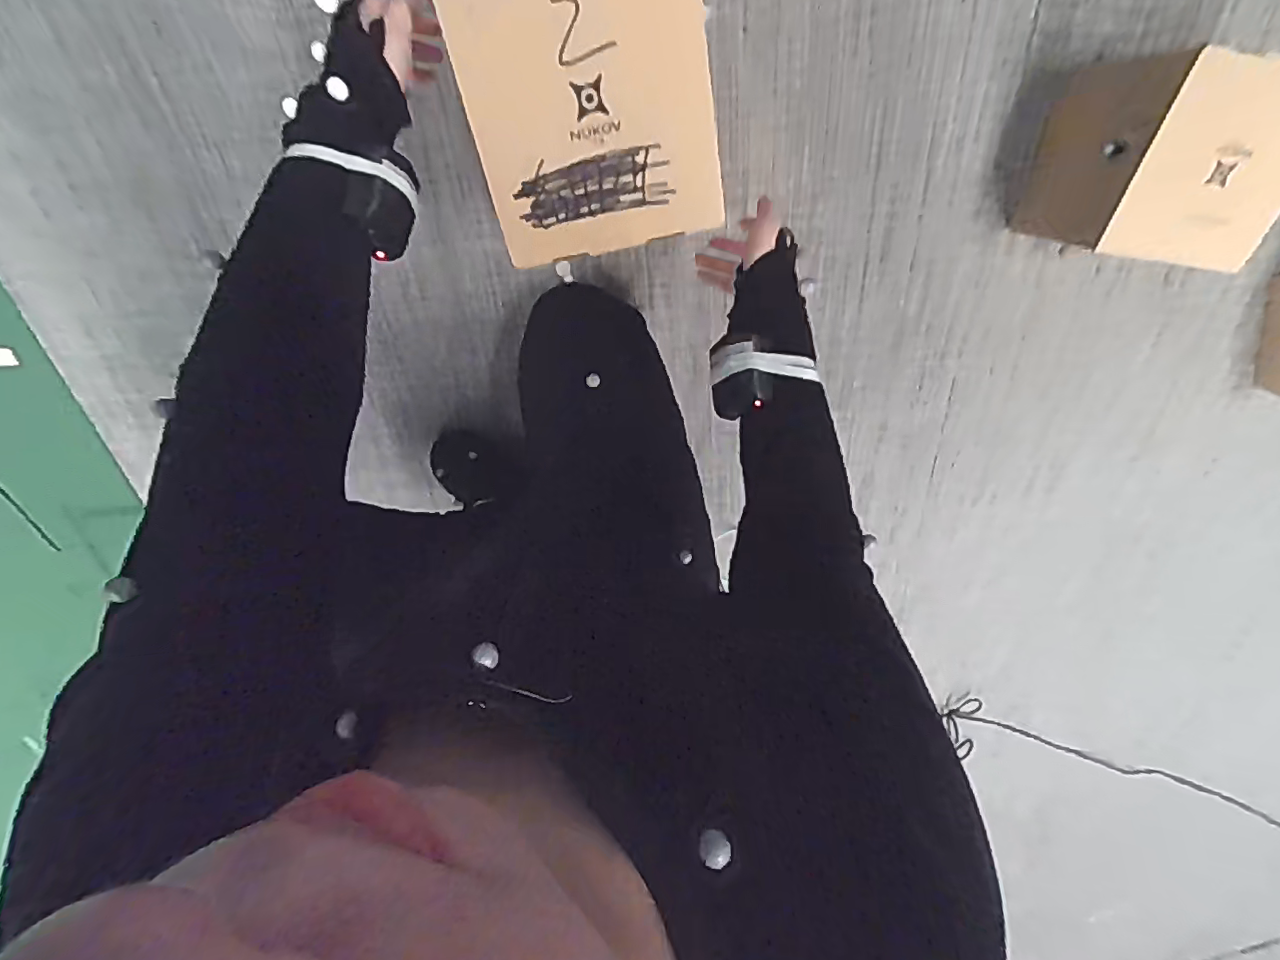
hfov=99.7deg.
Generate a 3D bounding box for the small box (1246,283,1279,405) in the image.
[{"bbox_3d":[0.955,-0.181,0.695,0.168,0.176,0.179,-20,119,12],"label":"small box"}]

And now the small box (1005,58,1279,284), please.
[{"bbox_3d":[0.561,-0.336,0.606,0.168,0.176,0.179,8,120,-4],"label":"small box"}]
